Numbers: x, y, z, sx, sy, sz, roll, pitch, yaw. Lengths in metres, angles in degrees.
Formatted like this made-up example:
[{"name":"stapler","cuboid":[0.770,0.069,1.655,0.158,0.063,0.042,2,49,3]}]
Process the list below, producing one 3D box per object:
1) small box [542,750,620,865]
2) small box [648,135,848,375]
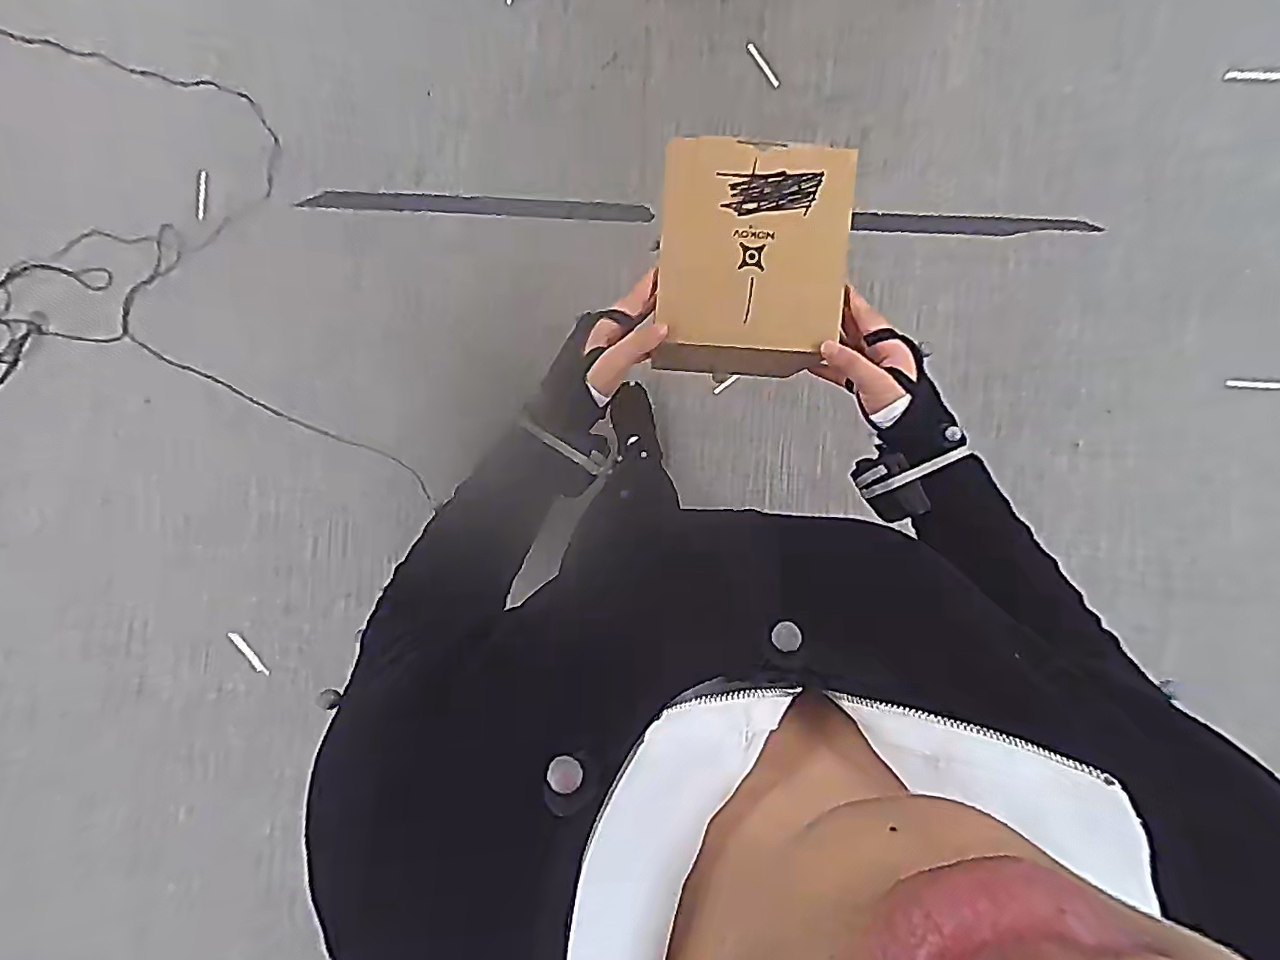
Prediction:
[{"name":"small box","cuboid":[-0.139,0.795,1.325,0.168,0.176,0.179,2,91,3]},{"name":"small box","cuboid":[0.096,-0.212,0.554,0.168,0.176,0.179,4,93,0]}]
